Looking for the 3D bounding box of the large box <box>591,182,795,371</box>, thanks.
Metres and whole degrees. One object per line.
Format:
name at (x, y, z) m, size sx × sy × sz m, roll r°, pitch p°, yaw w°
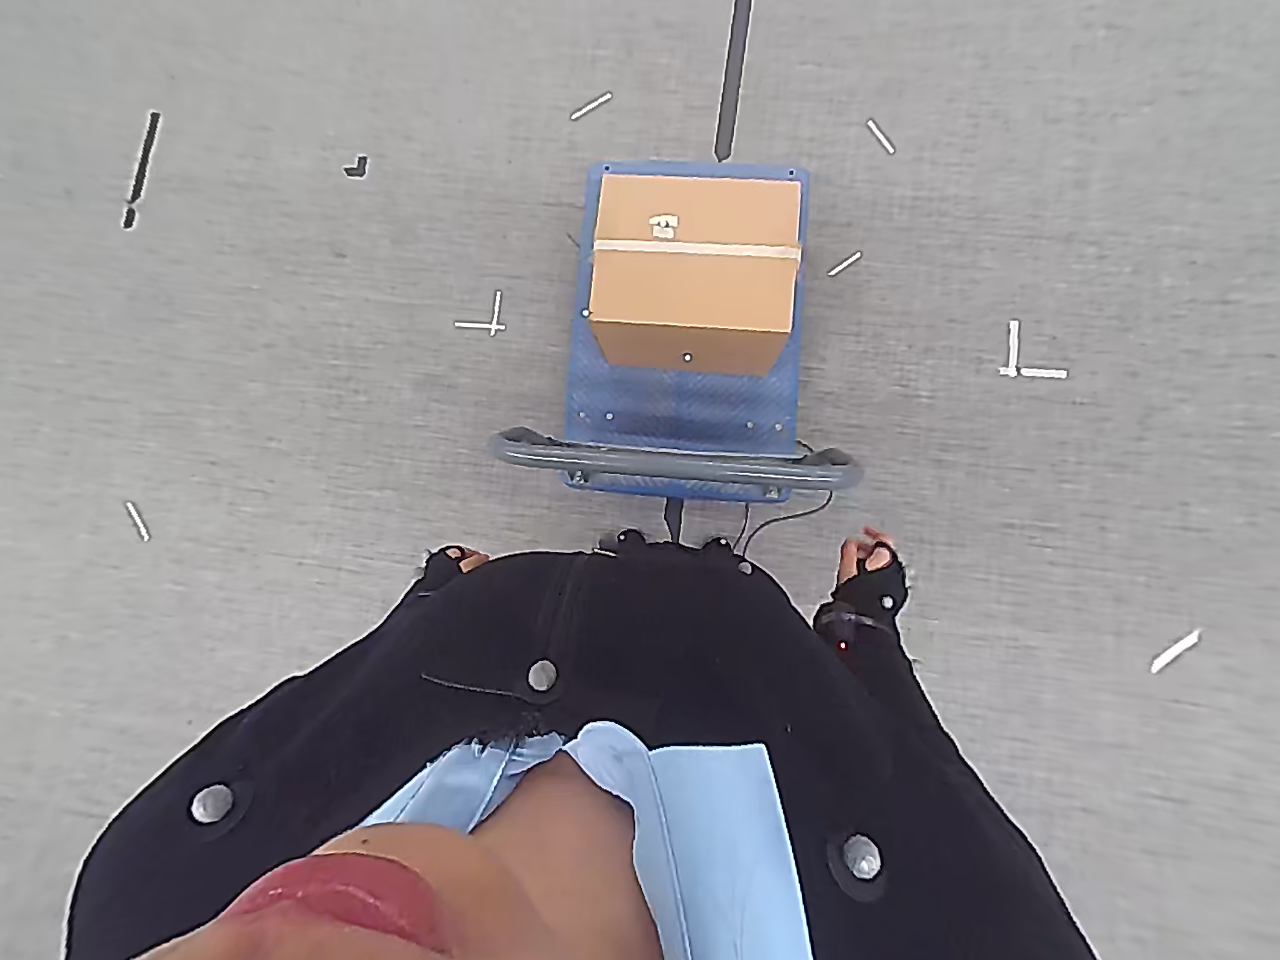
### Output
large box at (0.122, -0.445, 1.242) m, size 0.408 × 0.320 × 0.320 m, roll 4°, pitch 84°, yaw 6°
